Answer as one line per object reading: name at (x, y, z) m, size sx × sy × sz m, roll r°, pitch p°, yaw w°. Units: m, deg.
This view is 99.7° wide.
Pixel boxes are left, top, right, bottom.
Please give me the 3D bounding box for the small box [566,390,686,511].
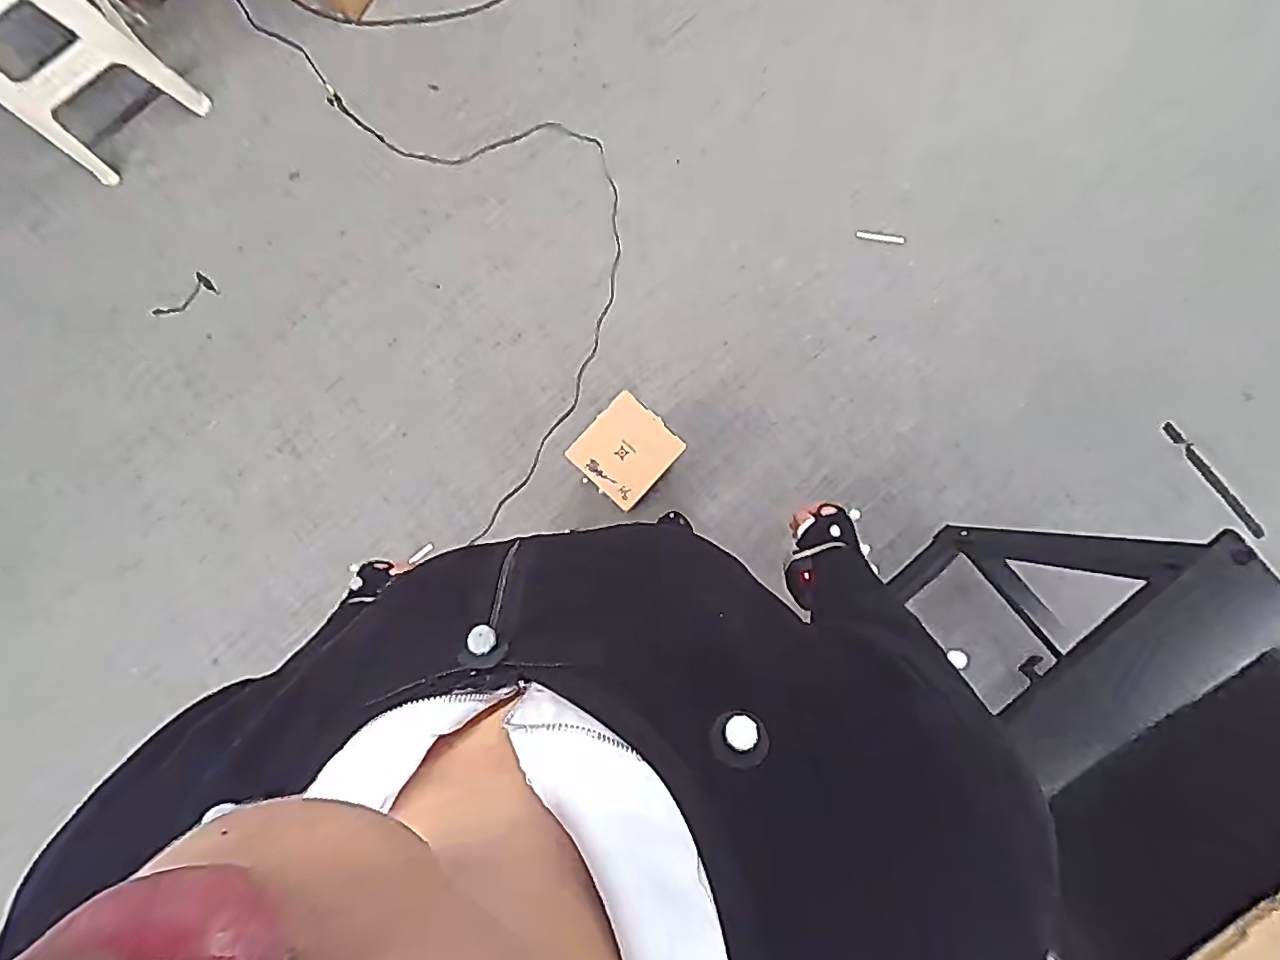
small box at (-0.030, -0.054, 1.112) m, size 0.168 × 0.176 × 0.179 m, roll 43°, pitch 87°, yaw 3°
